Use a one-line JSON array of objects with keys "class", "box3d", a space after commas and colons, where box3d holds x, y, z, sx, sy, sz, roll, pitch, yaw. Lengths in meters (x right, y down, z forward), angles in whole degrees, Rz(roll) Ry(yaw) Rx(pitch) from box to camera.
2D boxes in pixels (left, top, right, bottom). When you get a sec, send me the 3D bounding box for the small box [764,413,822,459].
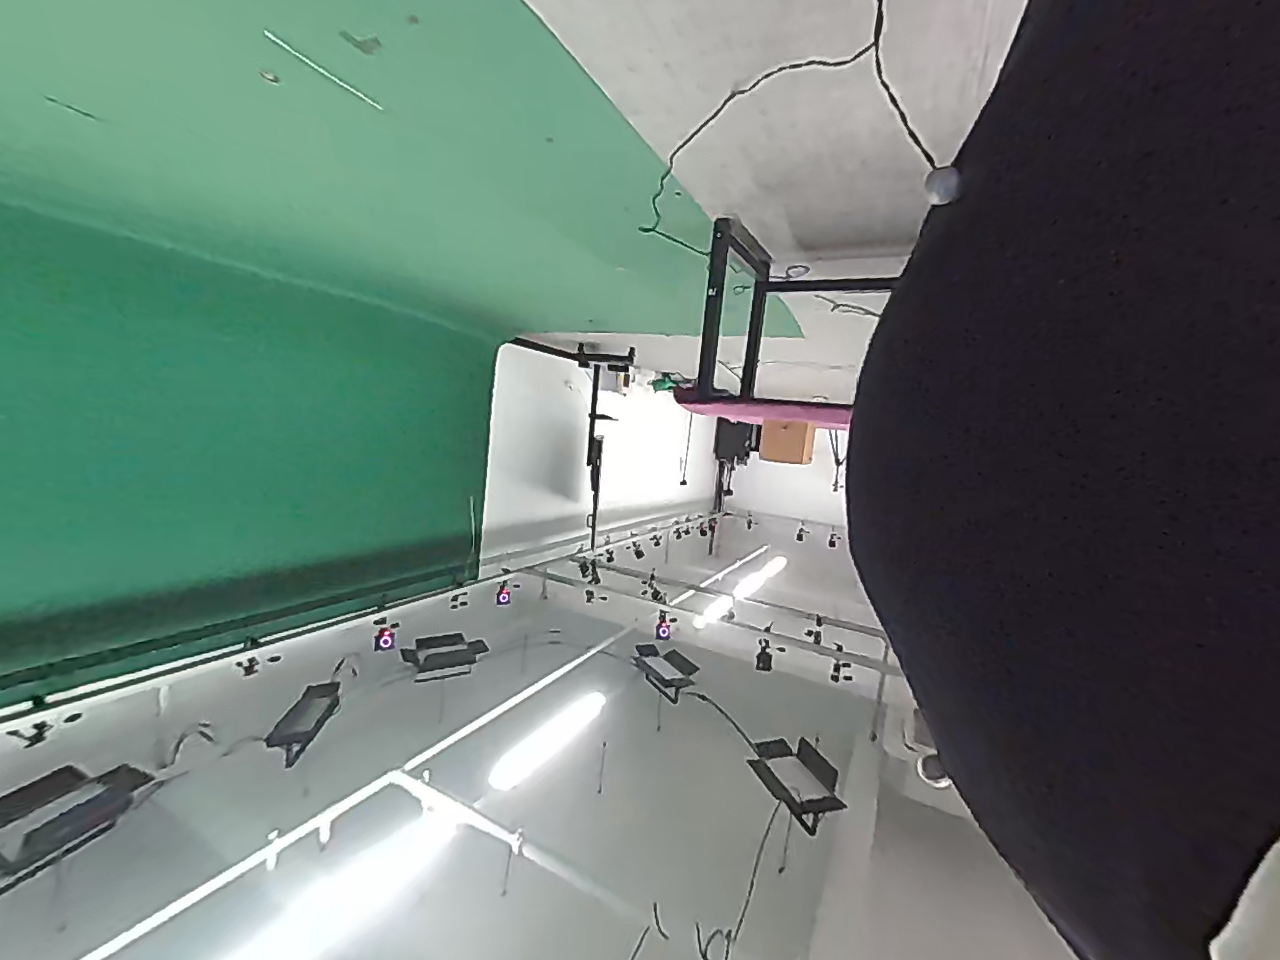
[{"class": "small box", "box3d": [0.611, -0.177, 2.146, 0.179, 0.176, 0.168, 10, -172, 29]}]
